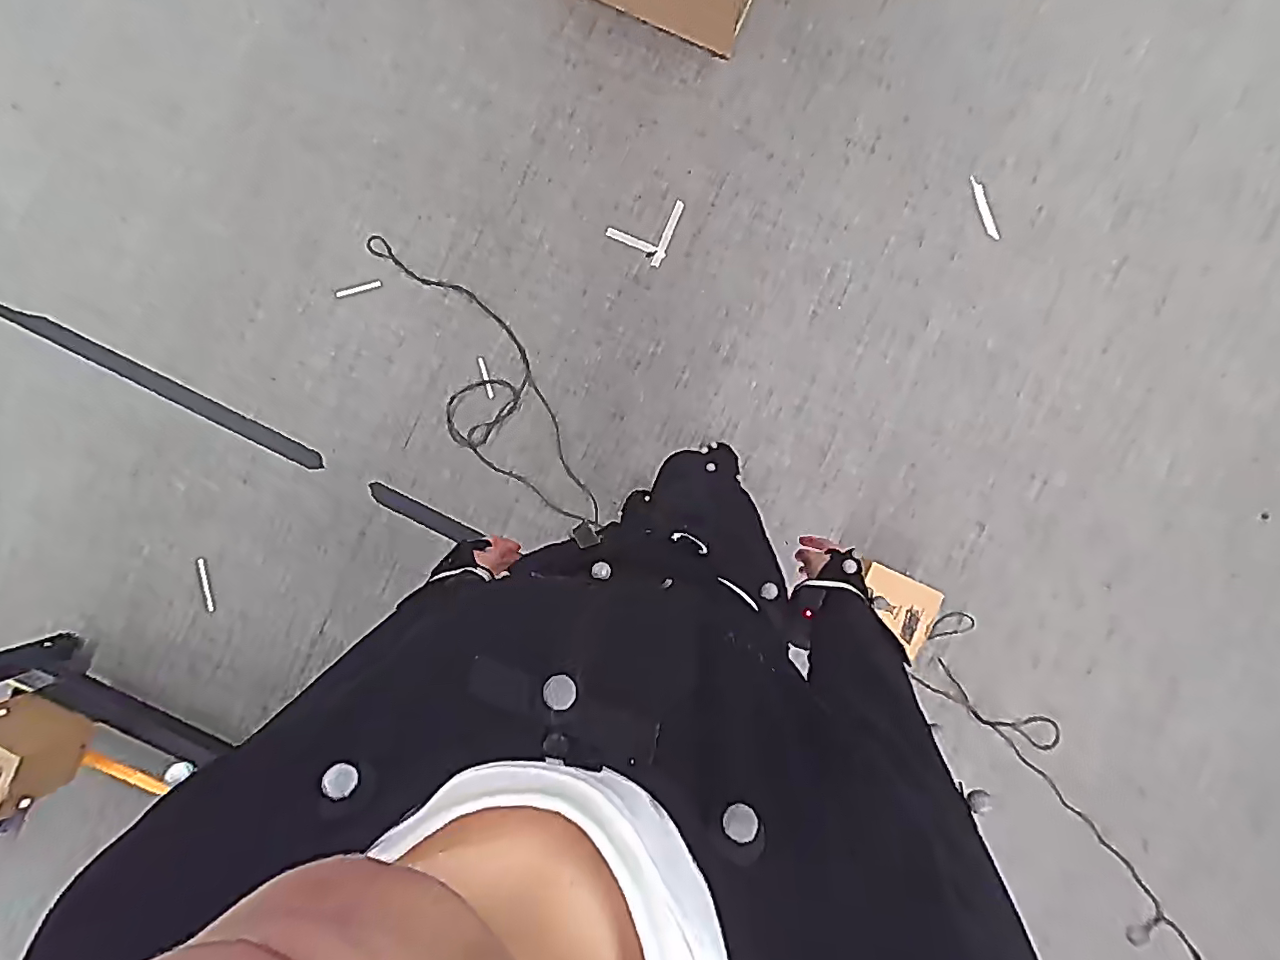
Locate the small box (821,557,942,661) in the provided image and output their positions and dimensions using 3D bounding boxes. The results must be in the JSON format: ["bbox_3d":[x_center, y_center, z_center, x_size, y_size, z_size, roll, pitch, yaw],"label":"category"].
[{"bbox_3d":[0.562,0.294,1.279,0.179,0.176,0.168,25,91,1],"label":"small box"}]
